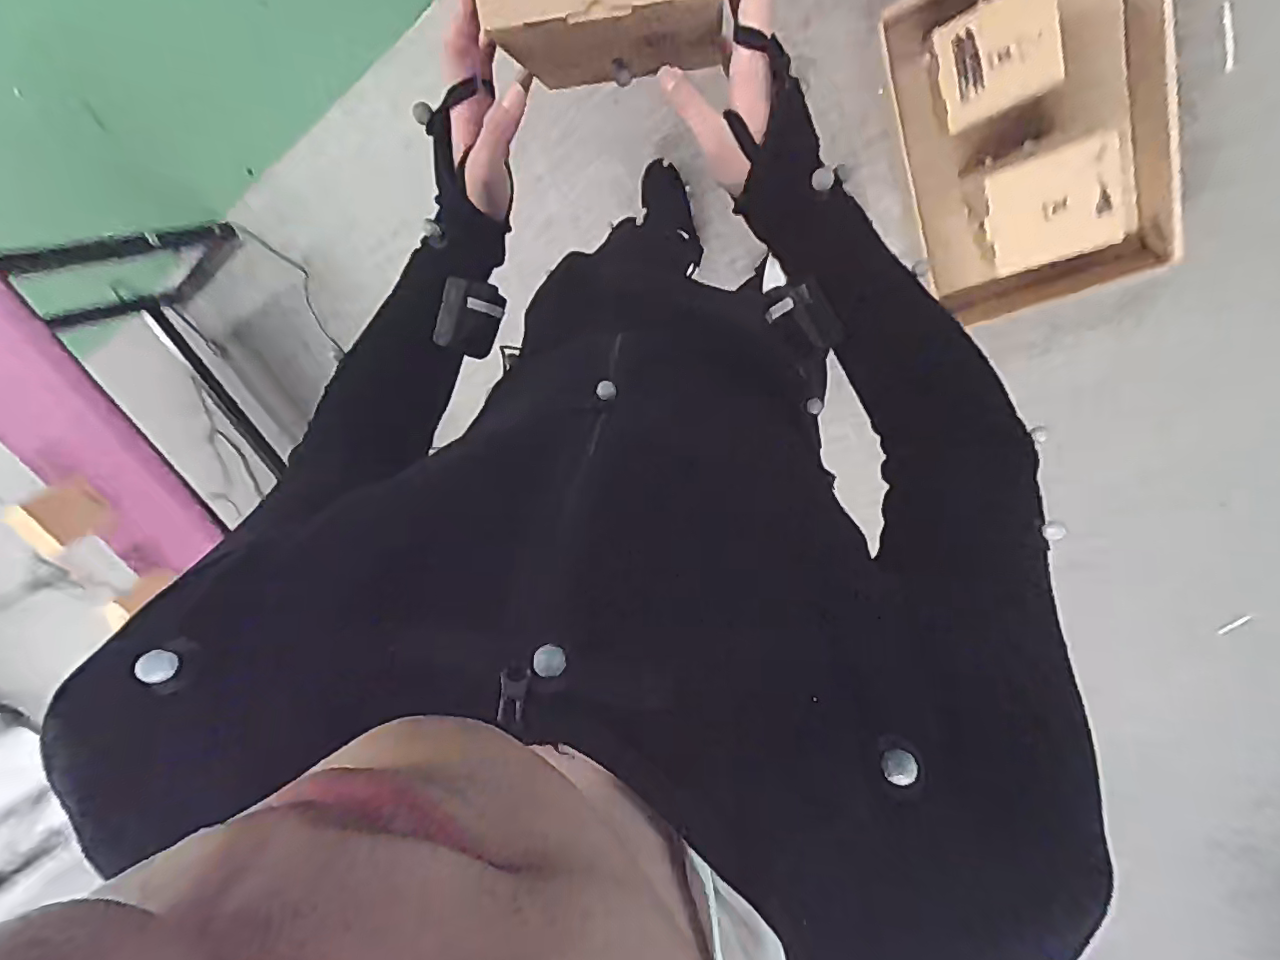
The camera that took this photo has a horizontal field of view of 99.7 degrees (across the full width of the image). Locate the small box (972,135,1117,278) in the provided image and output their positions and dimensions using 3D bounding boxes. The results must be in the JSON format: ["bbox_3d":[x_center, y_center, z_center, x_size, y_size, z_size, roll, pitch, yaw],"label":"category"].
[{"bbox_3d":[0.690,-0.471,0.939,0.179,0.176,0.168,-10,115,29],"label":"small box"}]

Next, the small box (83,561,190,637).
[{"bbox_3d":[-1.624,0.383,1.755,0.179,0.176,0.168,-16,112,29],"label":"small box"}]

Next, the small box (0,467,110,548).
[{"bbox_3d":[-1.773,0.082,1.631,0.179,0.176,0.168,-15,114,28],"label":"small box"}]

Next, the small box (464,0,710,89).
[{"bbox_3d":[-0.033,-0.422,0.399,0.168,0.176,0.179,-1,113,9],"label":"small box"}]
